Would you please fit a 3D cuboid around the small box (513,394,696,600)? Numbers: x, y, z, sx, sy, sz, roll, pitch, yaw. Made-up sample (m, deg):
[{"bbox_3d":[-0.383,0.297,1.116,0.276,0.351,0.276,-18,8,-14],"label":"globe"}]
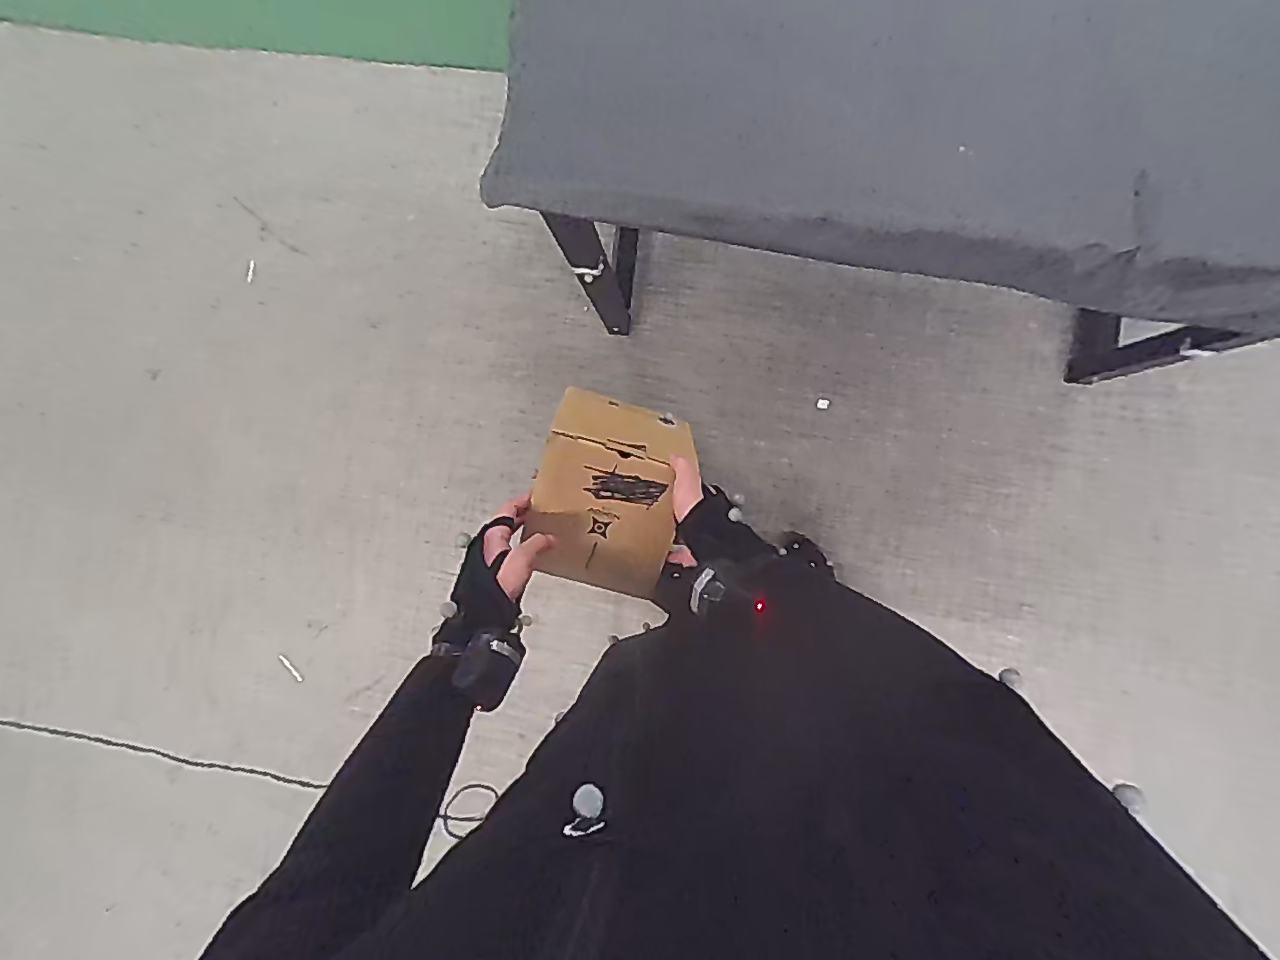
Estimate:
[{"bbox_3d":[-0.042,0.011,0.662,0.168,0.176,0.179,16,114,-5],"label":"small box"}]
